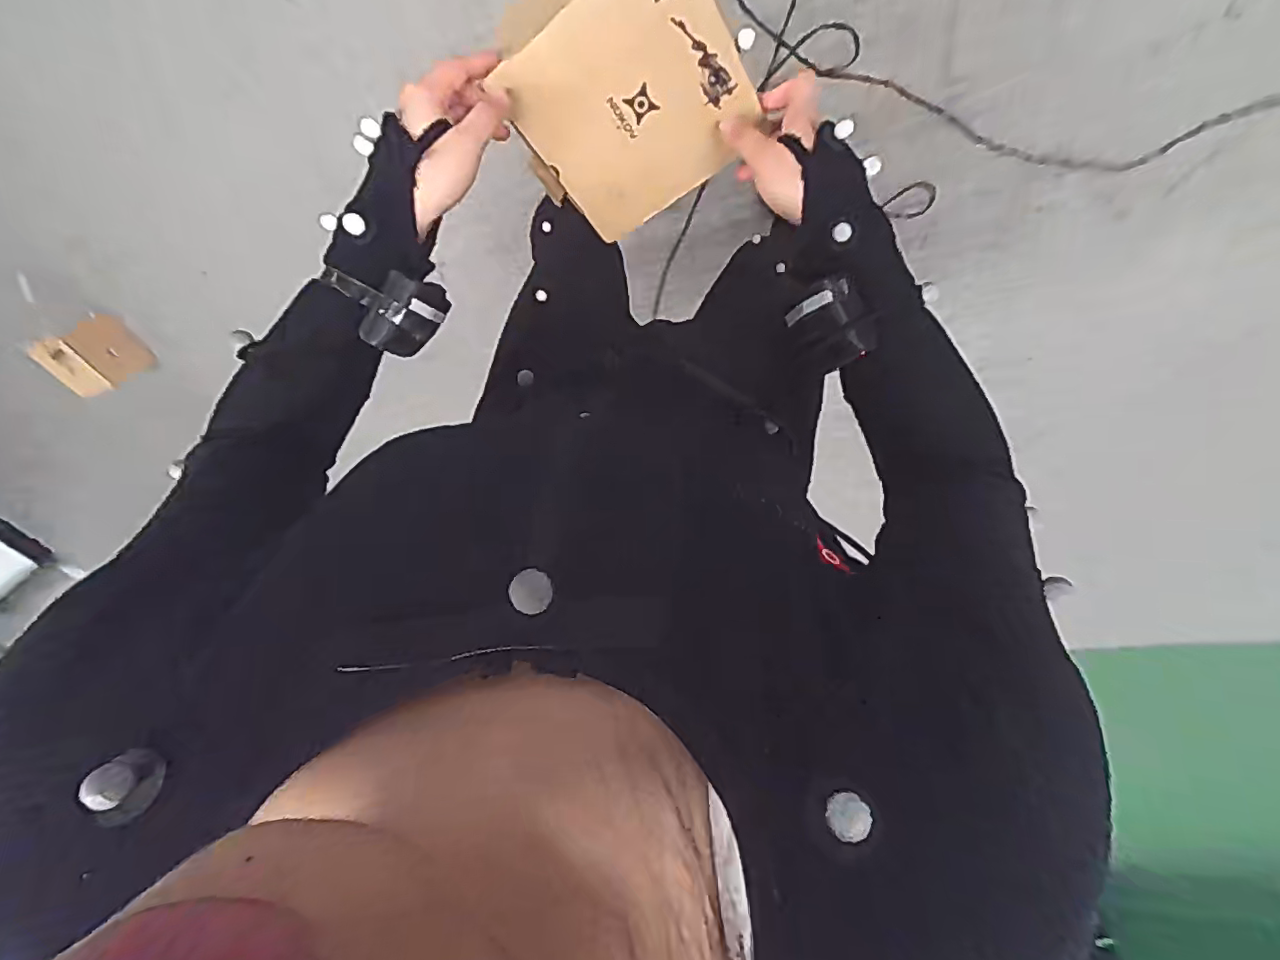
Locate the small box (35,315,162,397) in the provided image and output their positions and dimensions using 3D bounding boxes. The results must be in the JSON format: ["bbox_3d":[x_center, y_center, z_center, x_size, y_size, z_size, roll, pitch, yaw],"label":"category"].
[{"bbox_3d":[-1.644,-0.385,1.651,0.168,0.176,0.179,-9,130,19],"label":"small box"}]
